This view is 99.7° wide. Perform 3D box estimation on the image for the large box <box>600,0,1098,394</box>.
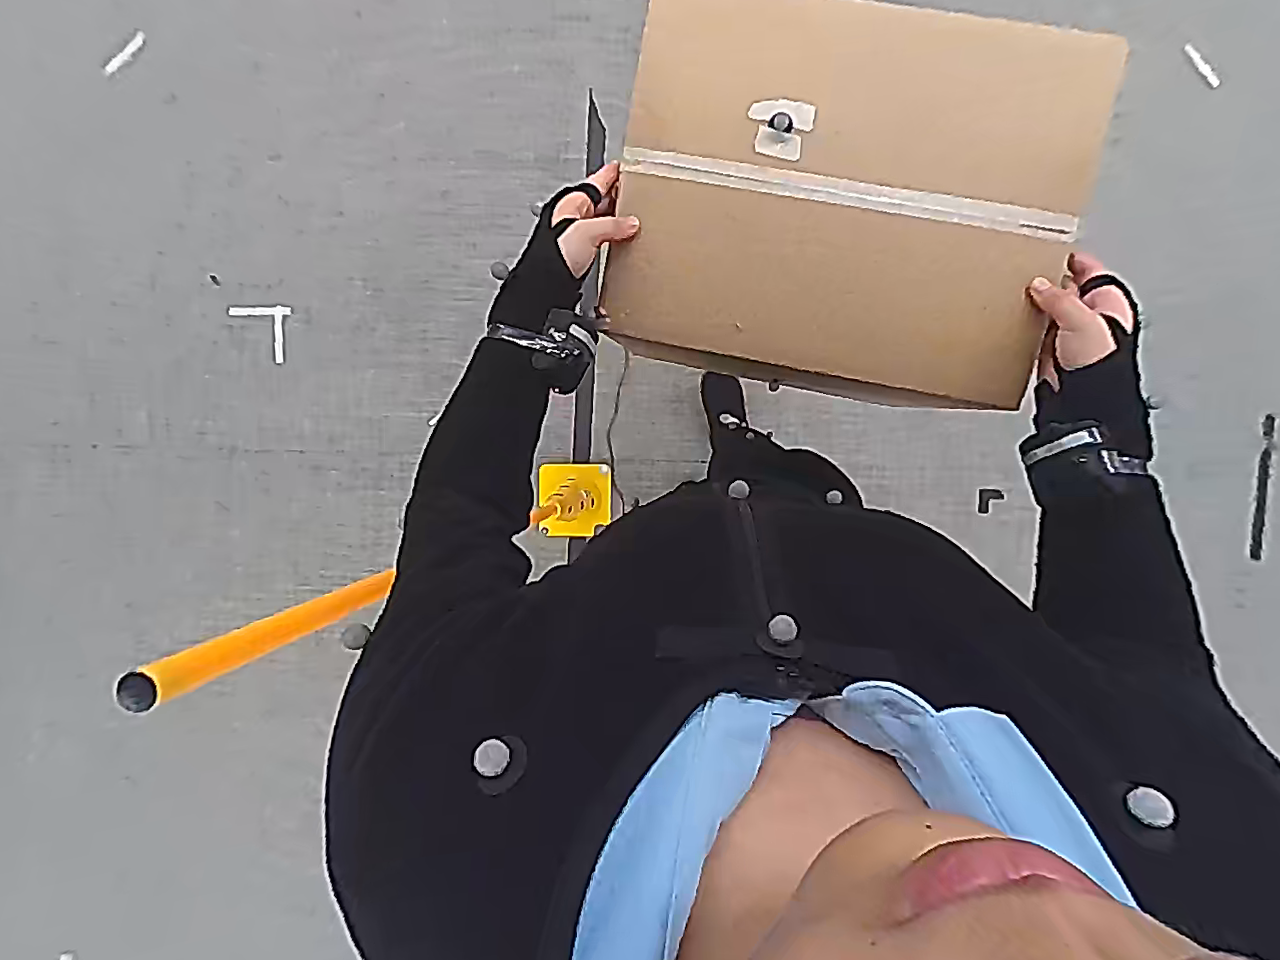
[{"bbox_3d":[0.195,-0.285,0.649,0.408,0.320,0.320,11,98,5],"label":"large box"}]
